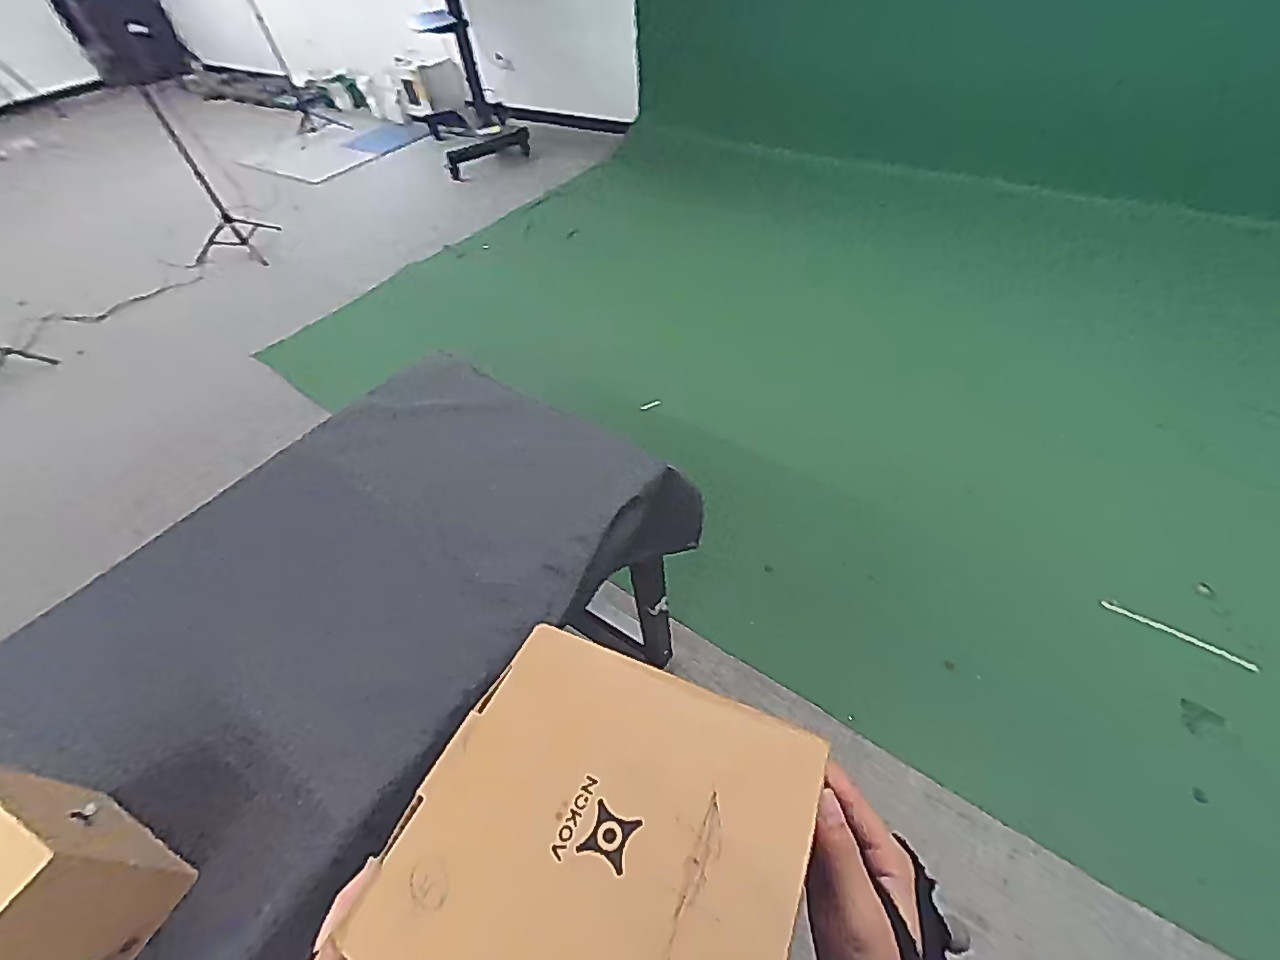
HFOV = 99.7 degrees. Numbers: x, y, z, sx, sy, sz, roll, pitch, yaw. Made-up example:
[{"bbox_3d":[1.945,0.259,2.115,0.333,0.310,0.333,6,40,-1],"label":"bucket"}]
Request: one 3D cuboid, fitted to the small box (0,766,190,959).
[{"bbox_3d":[-0.562,0.376,0.466,0.179,0.176,0.168,18,54,19],"label":"small box"}]
